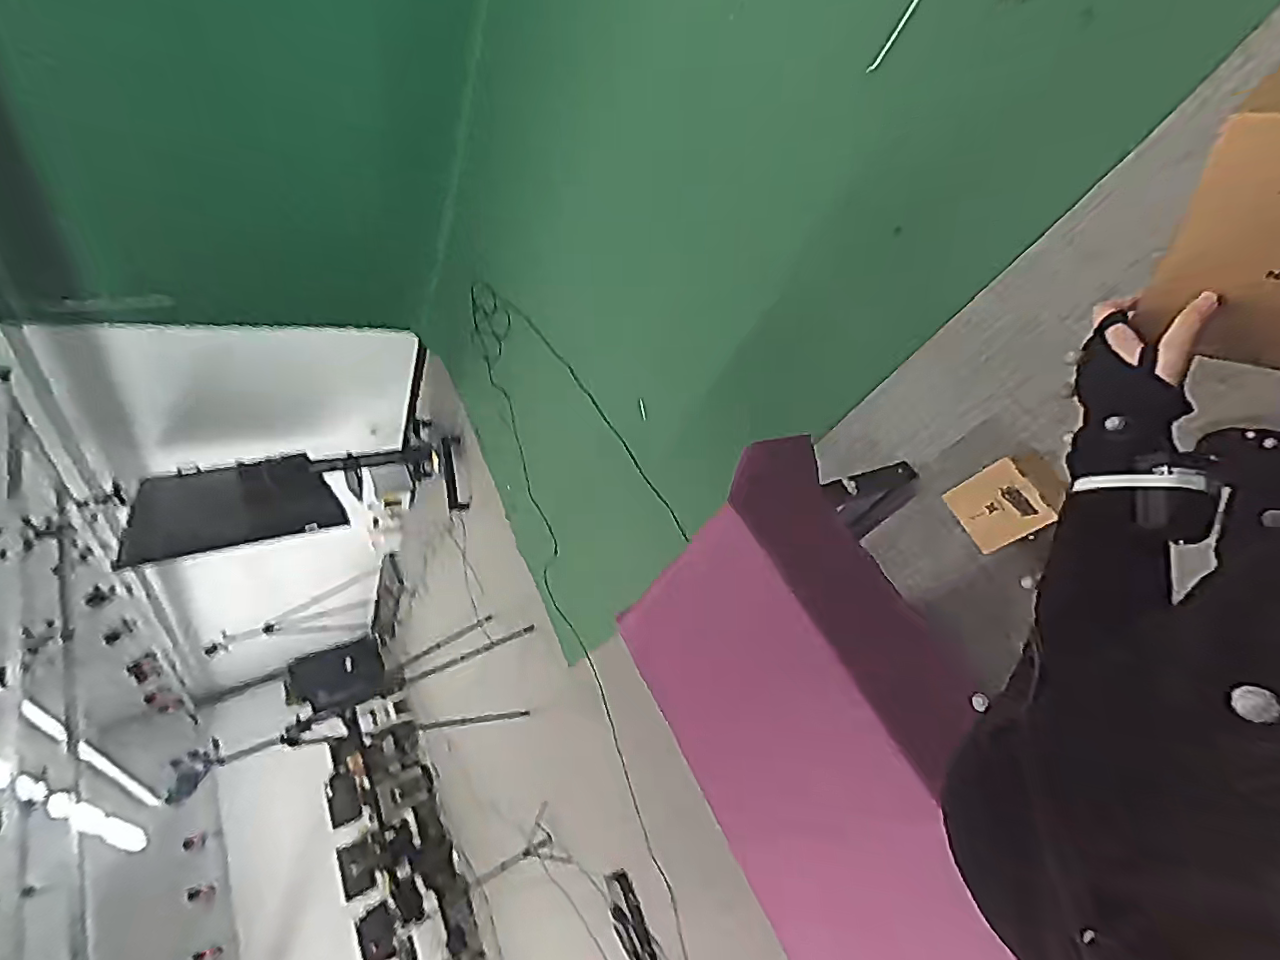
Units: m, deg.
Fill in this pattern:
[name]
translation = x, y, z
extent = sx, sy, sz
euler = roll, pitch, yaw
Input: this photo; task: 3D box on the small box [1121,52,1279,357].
[small box]
translation = 0.533, -0.215, 0.414
extent = 0.168, 0.176, 0.179
euler = 32, 150, 36
